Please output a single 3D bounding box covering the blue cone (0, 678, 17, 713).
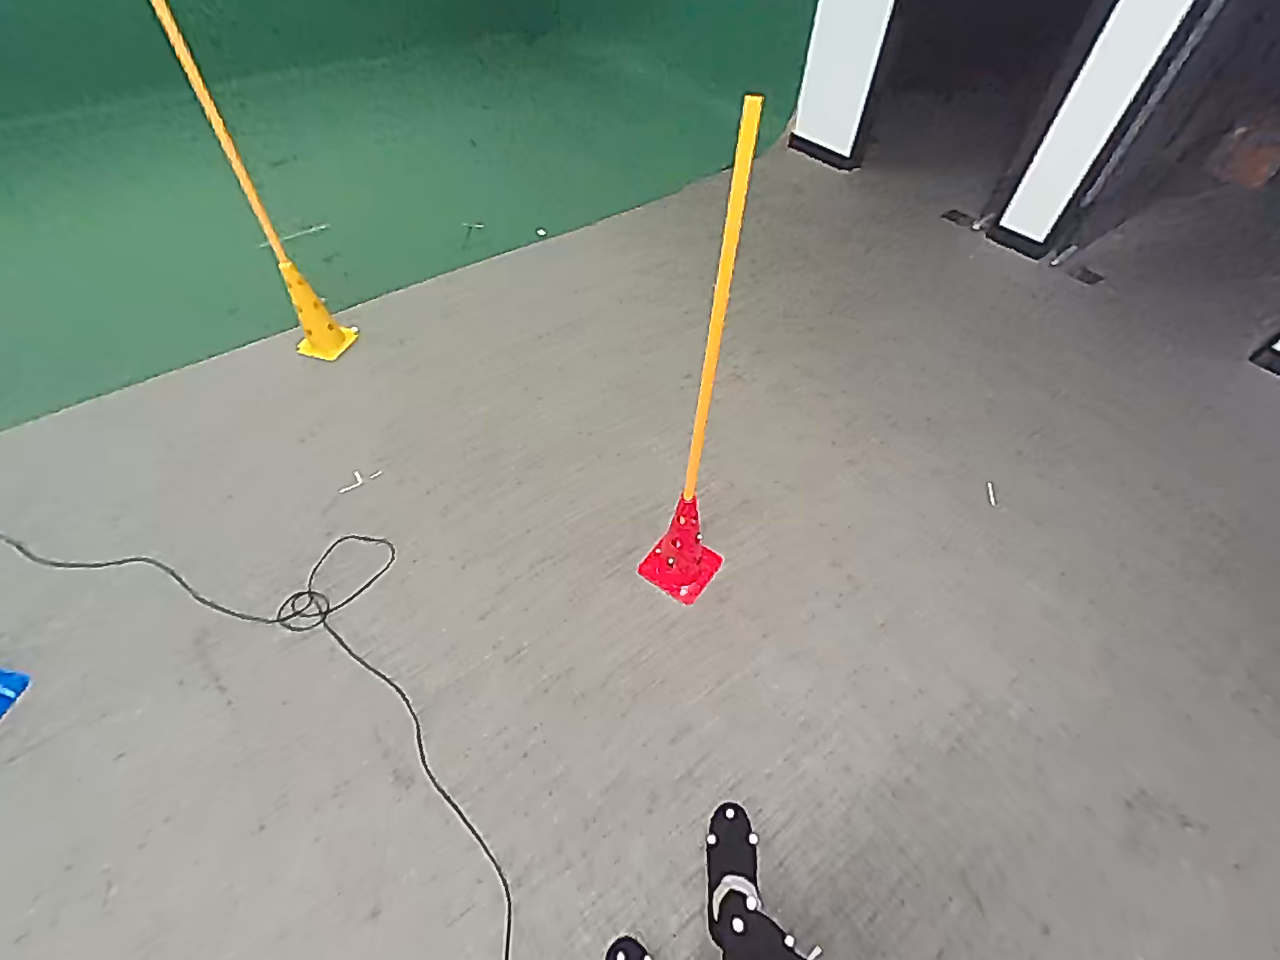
[{"bbox_3d":[-1.715,0.503,1.235,0.192,0.380,0.193,8,55,5],"label":"blue cone"}]
